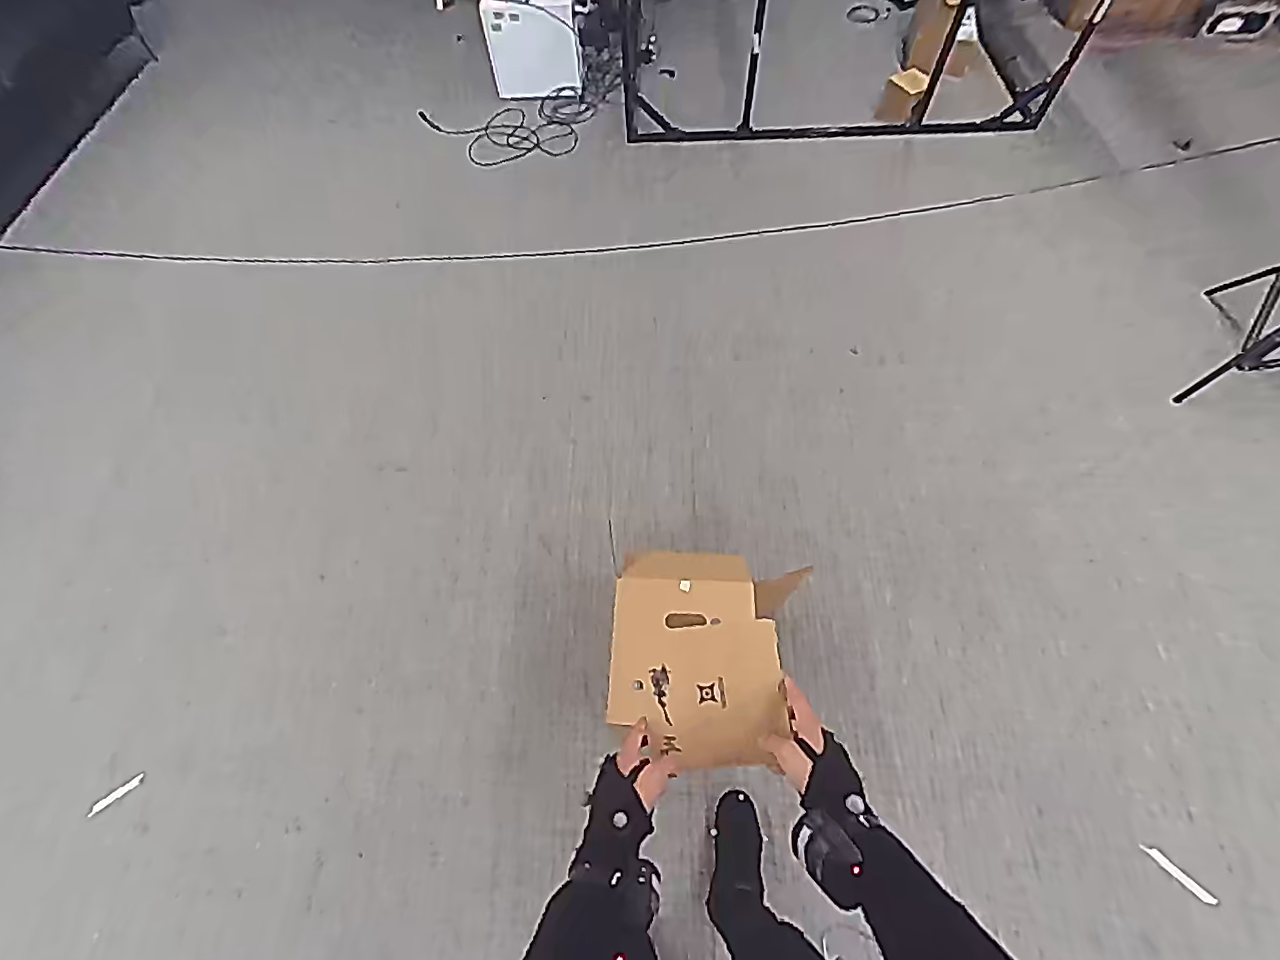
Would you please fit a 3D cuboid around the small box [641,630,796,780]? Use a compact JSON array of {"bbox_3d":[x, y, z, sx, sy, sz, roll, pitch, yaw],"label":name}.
[{"bbox_3d":[0.100,0.300,0.744,0.179,0.176,0.168,-7,70,4],"label":"small box"}]
